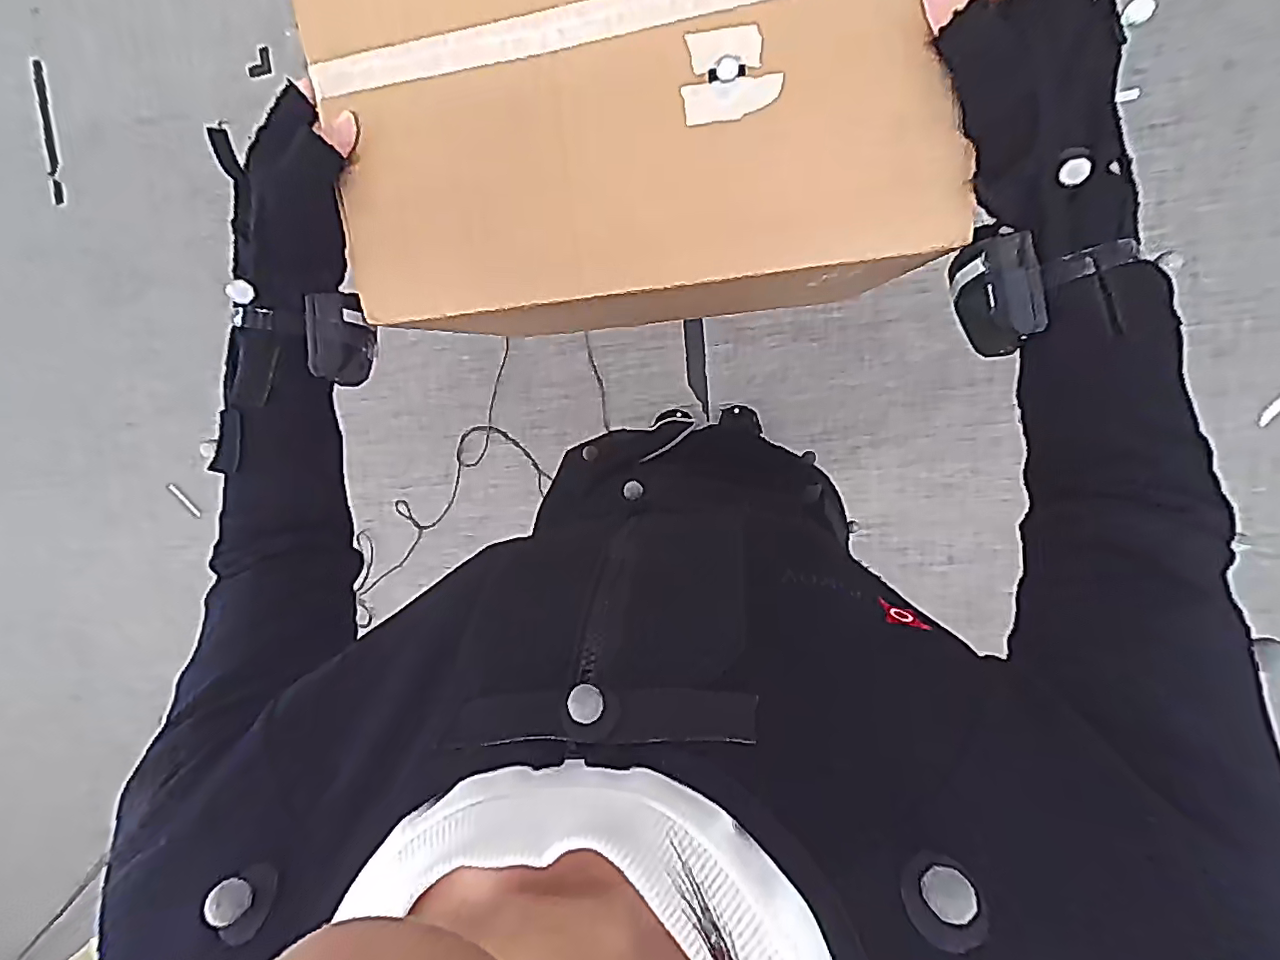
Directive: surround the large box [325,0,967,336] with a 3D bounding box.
[{"bbox_3d":[0.009,-0.317,0.482,0.408,0.320,0.320,-5,103,9],"label":"large box"}]
